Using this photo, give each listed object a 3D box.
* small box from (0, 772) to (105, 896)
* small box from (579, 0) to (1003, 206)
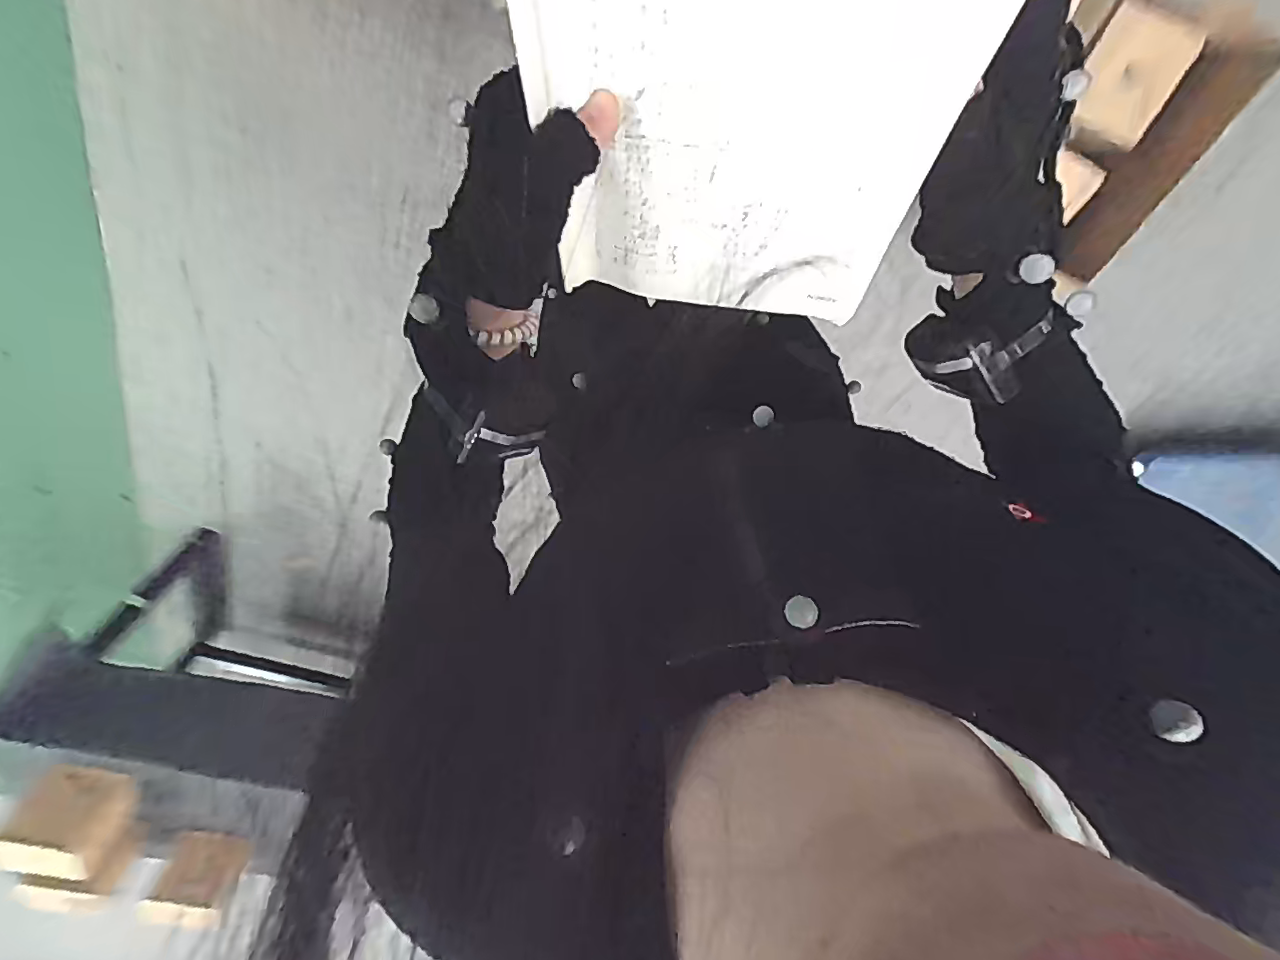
[{"bbox_3d":[-1.351,0.788,1.206,0.168,0.176,0.179,22,122,-15],"label":"small box"},{"bbox_3d":[0.066,-0.272,0.262,0.179,0.176,0.168,-3,159,11],"label":"small box"}]
